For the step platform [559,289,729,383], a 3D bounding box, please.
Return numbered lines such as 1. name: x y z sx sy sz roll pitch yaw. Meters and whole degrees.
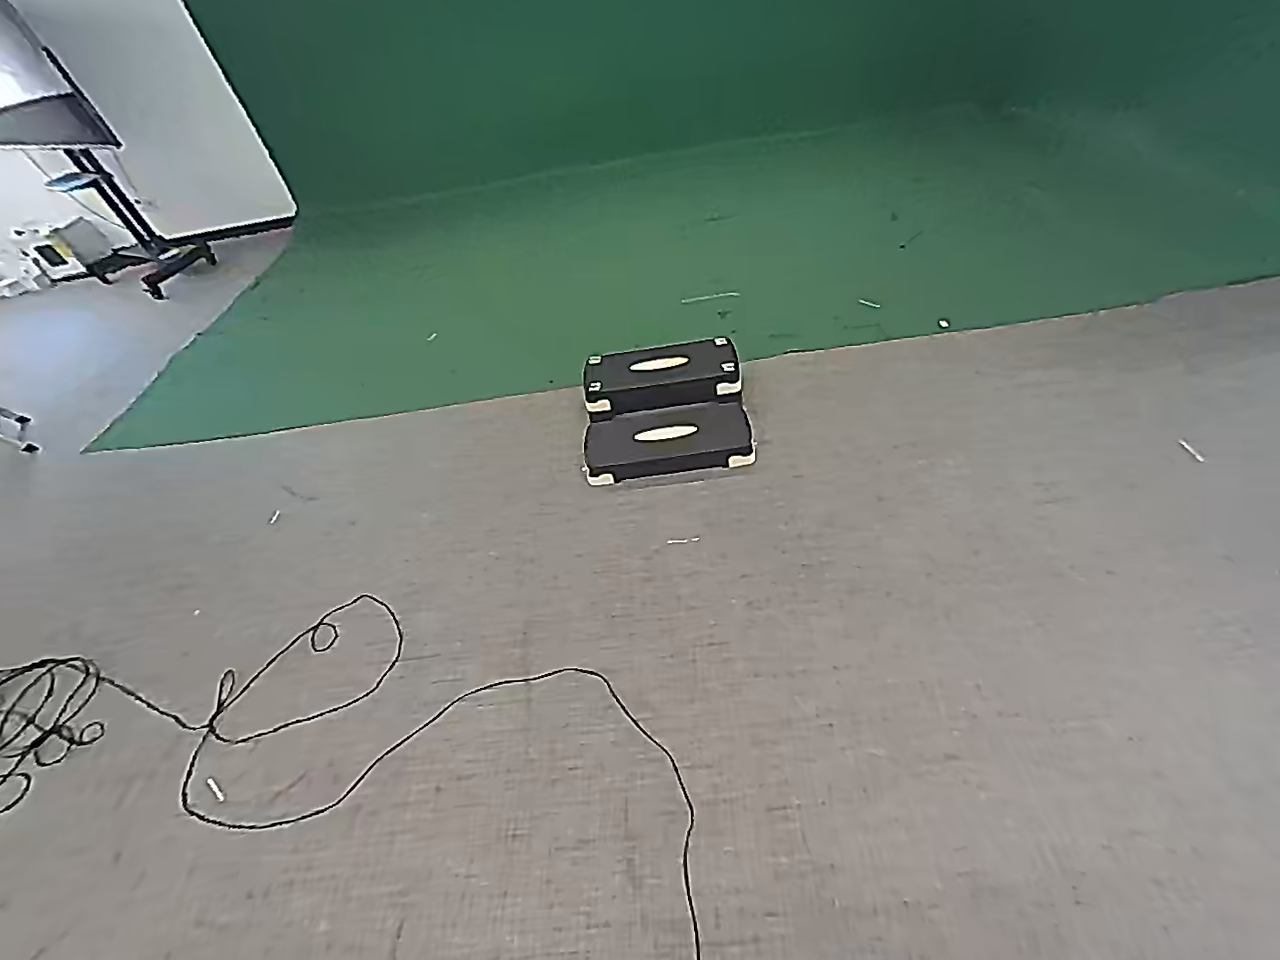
1. step platform: 0.022 -0.597 2.244 0.684 0.204 0.286 -8 47 4
